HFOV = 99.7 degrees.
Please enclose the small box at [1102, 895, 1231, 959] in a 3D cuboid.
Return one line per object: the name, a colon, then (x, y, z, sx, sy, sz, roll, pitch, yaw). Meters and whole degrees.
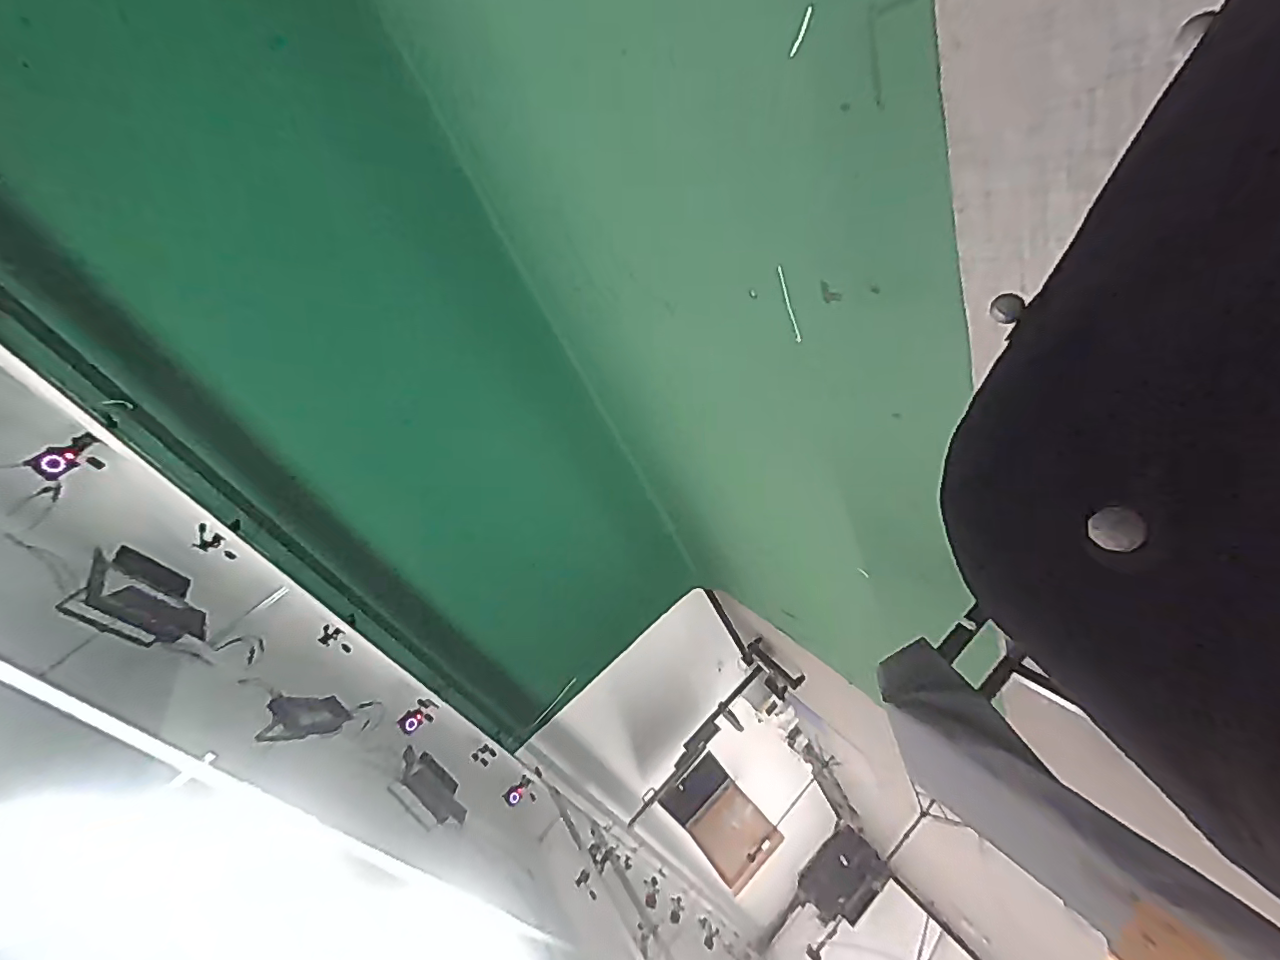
small box: (1.221, 1.118, 1.257, 0.168, 0.176, 0.179, 33, 159, 52)
